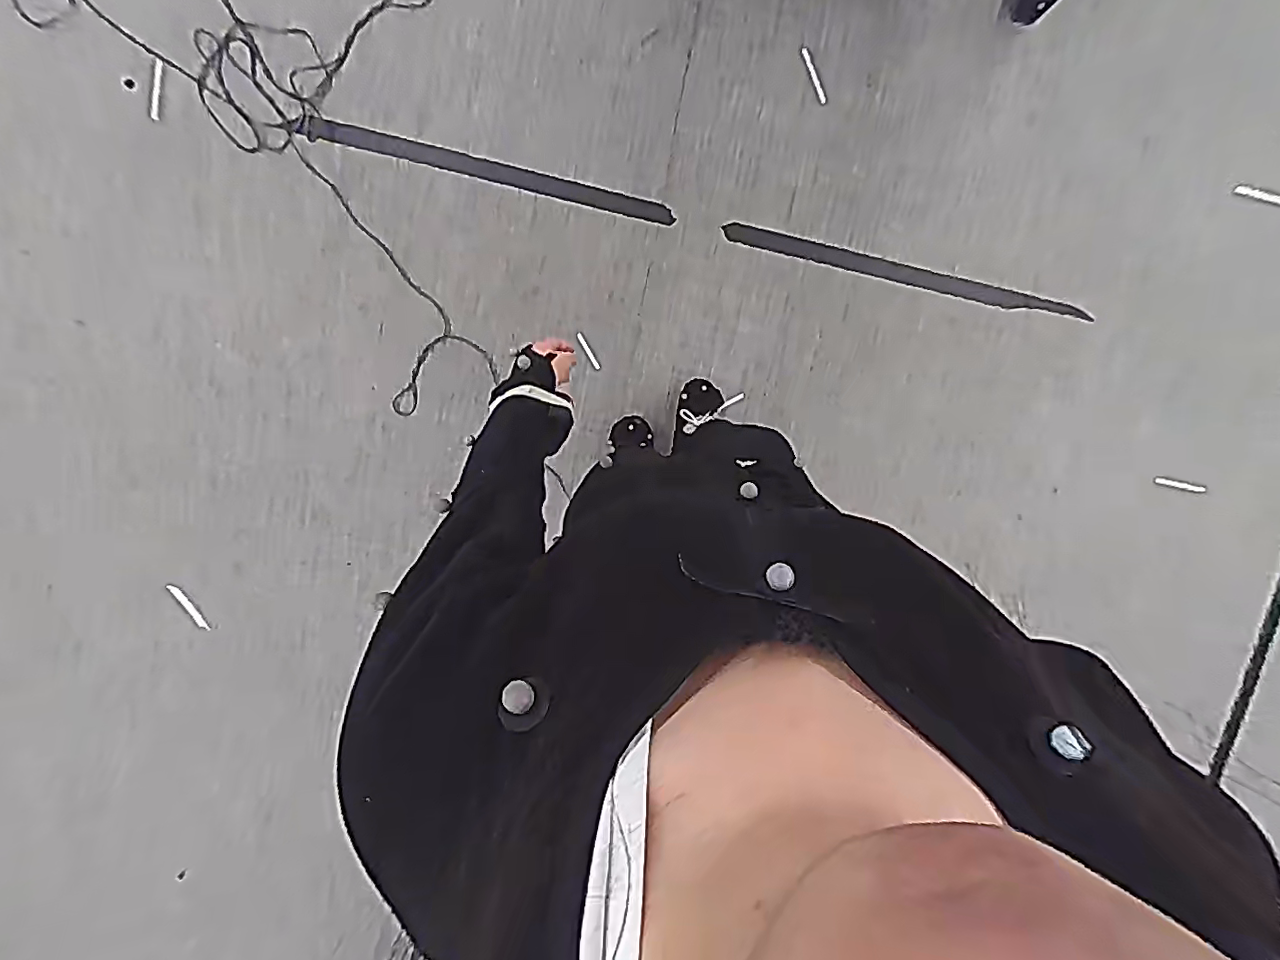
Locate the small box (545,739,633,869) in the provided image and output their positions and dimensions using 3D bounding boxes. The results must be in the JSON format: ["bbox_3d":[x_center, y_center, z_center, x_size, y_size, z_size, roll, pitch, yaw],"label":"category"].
[{"bbox_3d":[-0.109,0.716,1.206,0.168,0.176,0.179,8,97,-4],"label":"small box"}]
